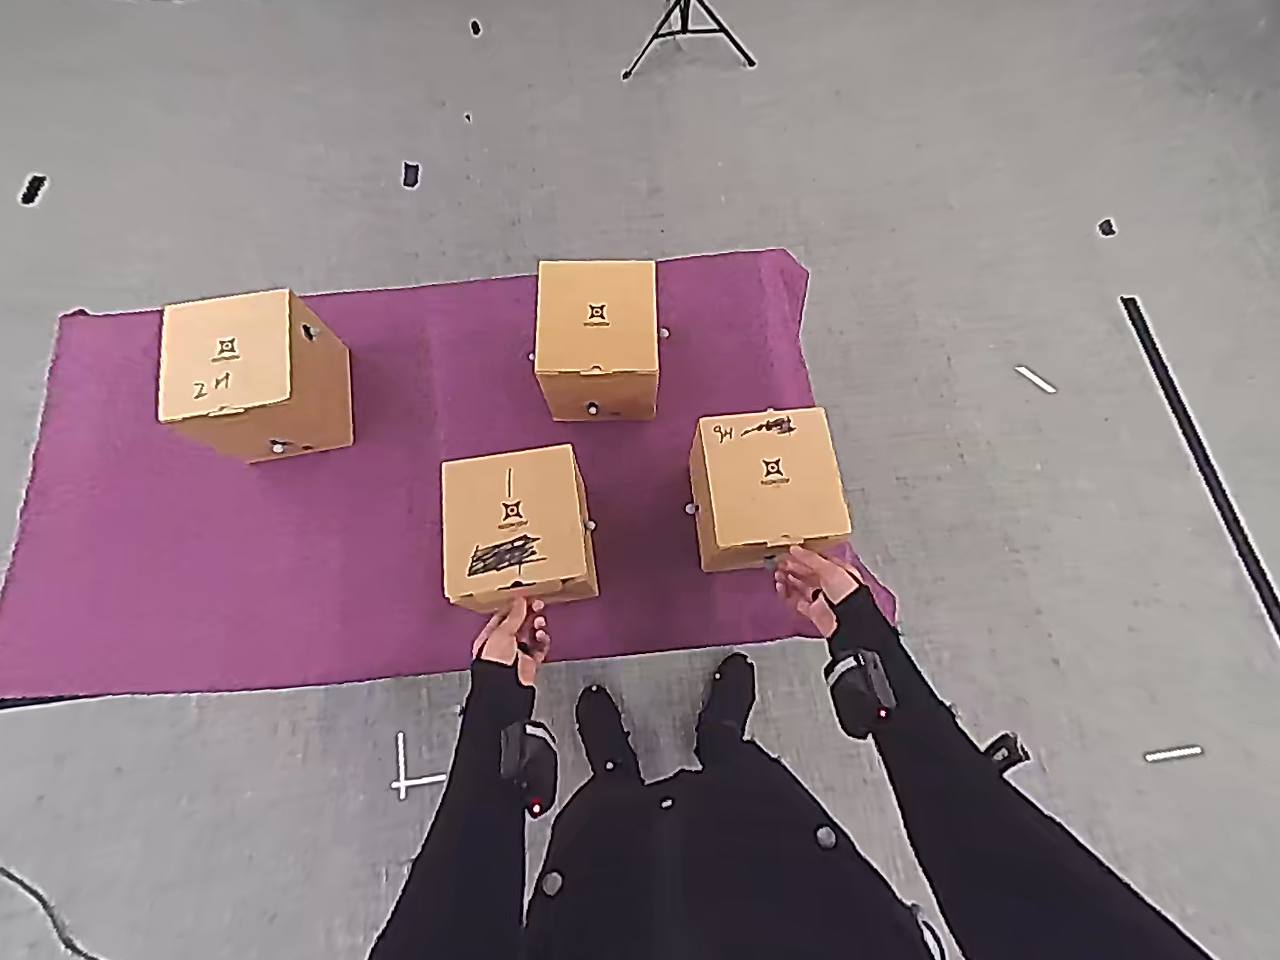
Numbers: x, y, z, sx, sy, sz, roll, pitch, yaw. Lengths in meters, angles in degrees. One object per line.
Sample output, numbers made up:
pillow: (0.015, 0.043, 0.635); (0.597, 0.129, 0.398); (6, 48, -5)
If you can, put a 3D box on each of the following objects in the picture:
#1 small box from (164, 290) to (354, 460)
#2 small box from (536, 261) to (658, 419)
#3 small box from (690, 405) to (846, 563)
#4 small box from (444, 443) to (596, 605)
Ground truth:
small box: (-0.544, -0.147, 0.797); (0.168, 0.176, 0.179); (-10, 74, -4)
small box: (-0.060, -0.206, 0.821); (0.168, 0.176, 0.179); (-1, 75, -1)
small box: (0.163, 0.016, 0.749); (0.168, 0.176, 0.179); (-4, 71, -1)
small box: (-0.154, 0.070, 0.732); (0.168, 0.176, 0.179); (-8, 70, -3)
